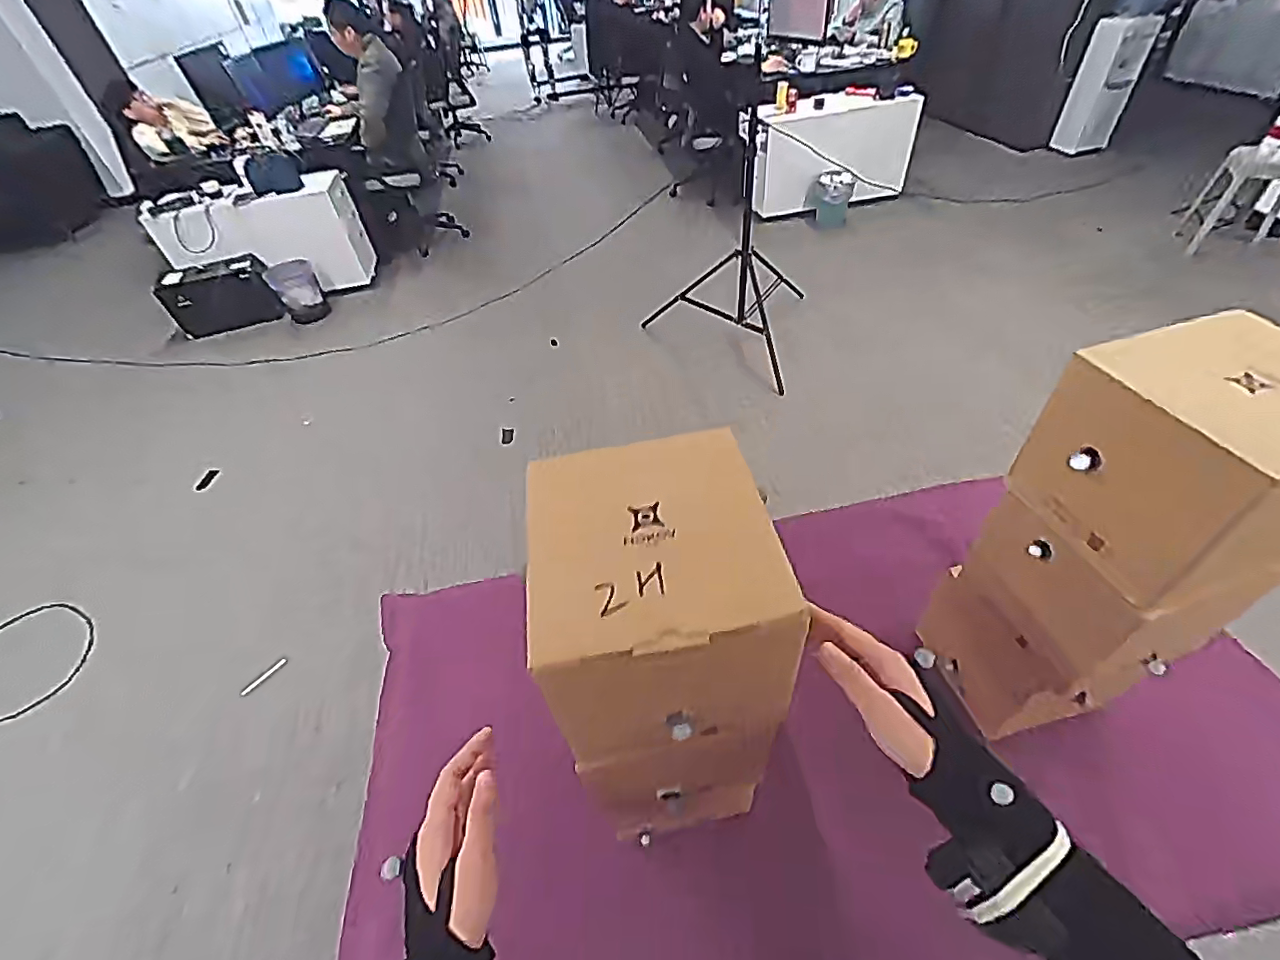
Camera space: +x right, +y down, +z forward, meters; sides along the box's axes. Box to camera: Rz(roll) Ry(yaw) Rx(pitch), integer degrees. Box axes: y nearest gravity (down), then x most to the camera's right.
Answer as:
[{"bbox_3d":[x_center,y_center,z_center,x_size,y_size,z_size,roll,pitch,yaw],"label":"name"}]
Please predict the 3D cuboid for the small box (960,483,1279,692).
[{"bbox_3d":[0.494,0.099,0.583,0.179,0.176,0.168,-15,45,-8],"label":"small box"}]

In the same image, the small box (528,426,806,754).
[{"bbox_3d":[0.013,0.085,0.425,0.168,0.176,0.179,-10,46,-2],"label":"small box"}]

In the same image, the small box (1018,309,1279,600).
[{"bbox_3d":[0.476,-0.020,0.473,0.179,0.176,0.168,-15,46,-7],"label":"small box"}]

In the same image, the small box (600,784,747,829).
[{"bbox_3d":[0.032,0.306,0.666,0.168,0.176,0.179,-11,45,-5],"label":"small box"}]
